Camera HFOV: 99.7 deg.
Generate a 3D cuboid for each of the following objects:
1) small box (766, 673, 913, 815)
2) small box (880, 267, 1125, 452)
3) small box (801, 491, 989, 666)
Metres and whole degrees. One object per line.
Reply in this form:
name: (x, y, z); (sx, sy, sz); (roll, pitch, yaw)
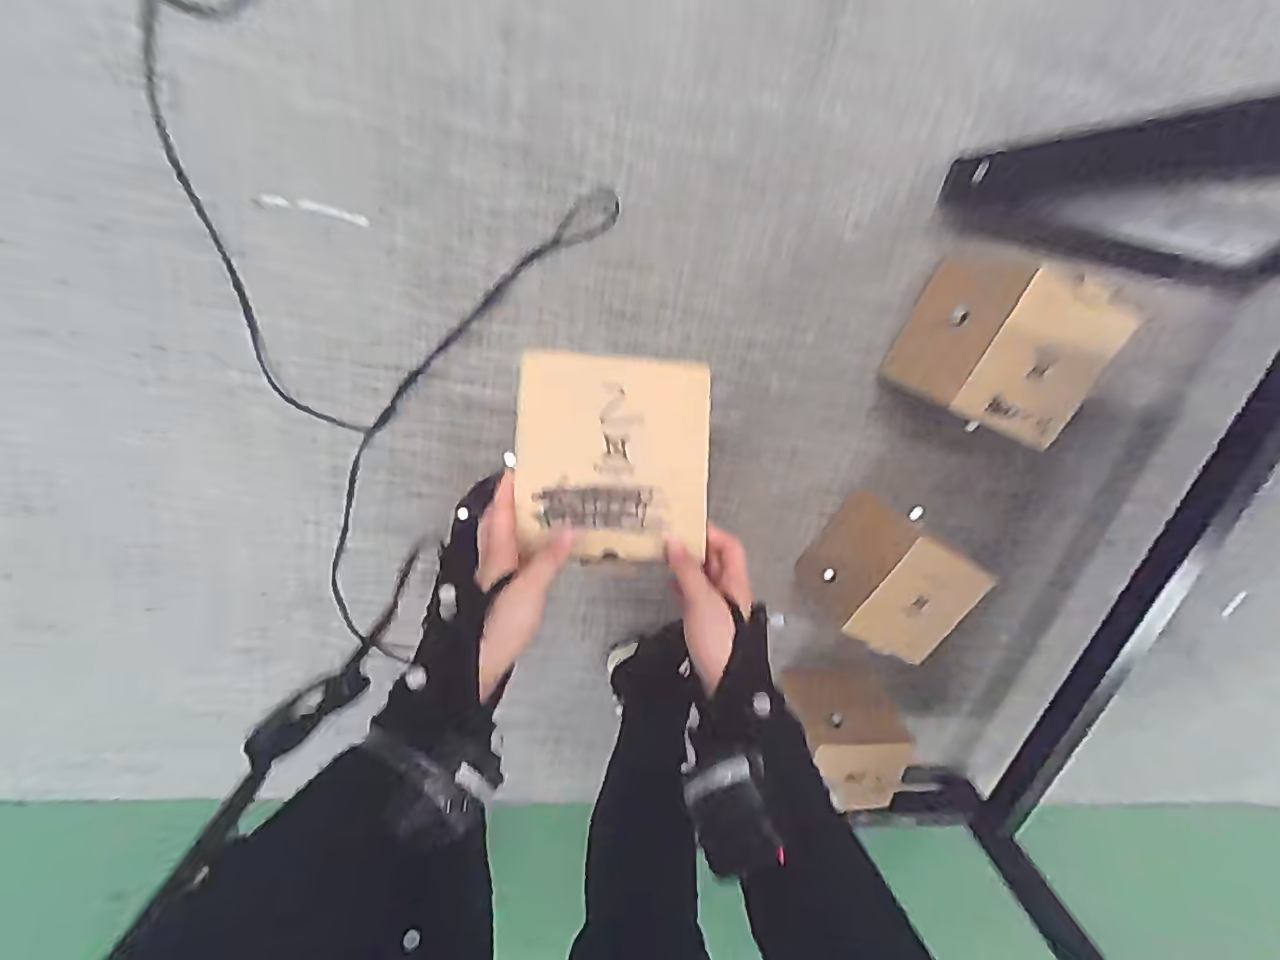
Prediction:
small box: (0.345, 0.468, 0.976); (0.179, 0.176, 0.168); (2, 114, -10)
small box: (0.458, -0.166, 0.715); (0.168, 0.176, 0.179); (19, 109, -16)
small box: (0.377, 0.147, 0.841); (0.168, 0.176, 0.179); (27, 106, -19)
